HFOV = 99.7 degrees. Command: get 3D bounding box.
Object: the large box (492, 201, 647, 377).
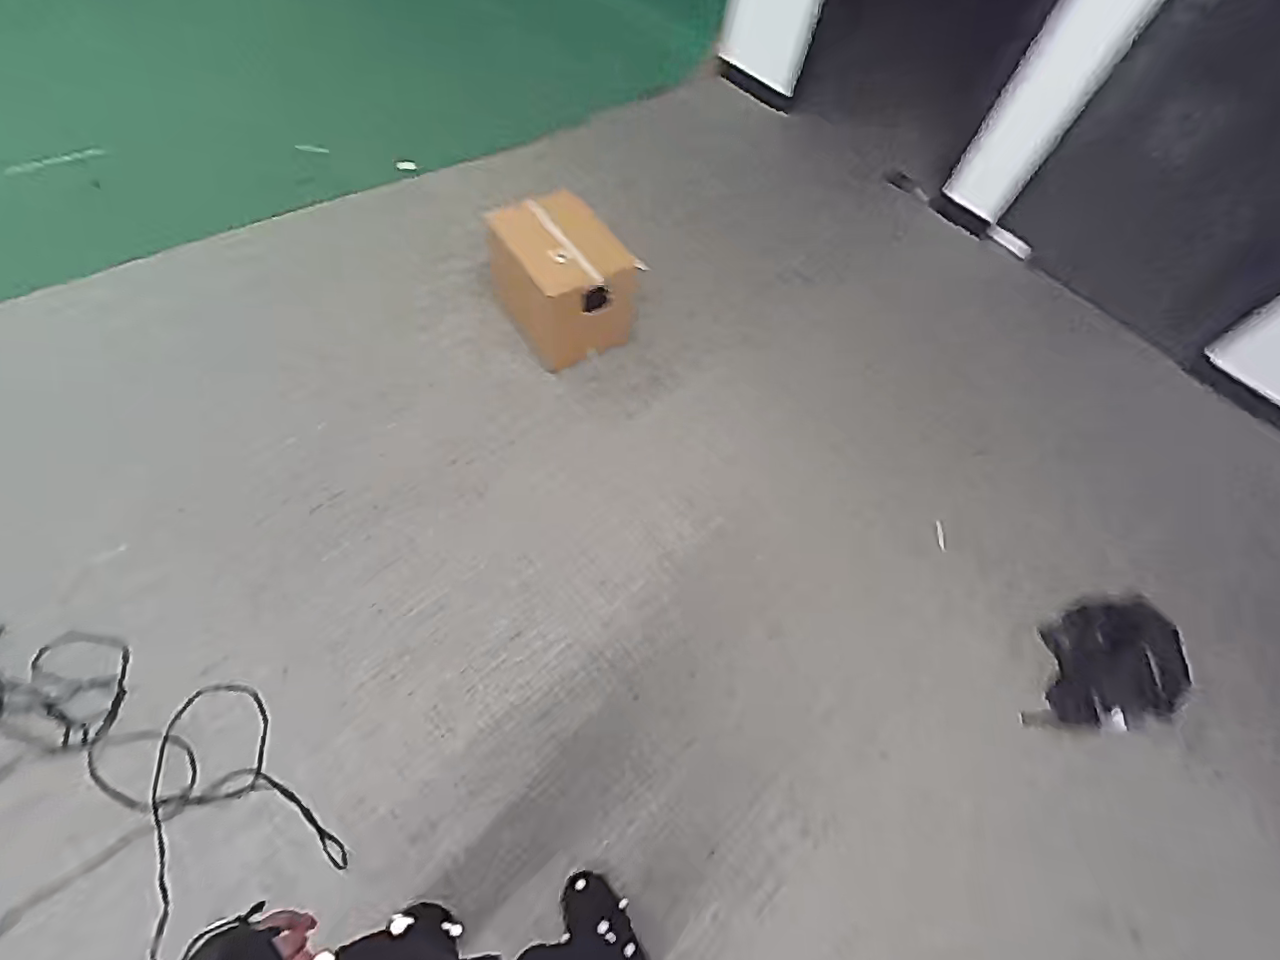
[{"bbox_3d":[-0.236,-0.614,1.739,0.320,0.320,0.408,-28,68,-22],"label":"large box"}]
